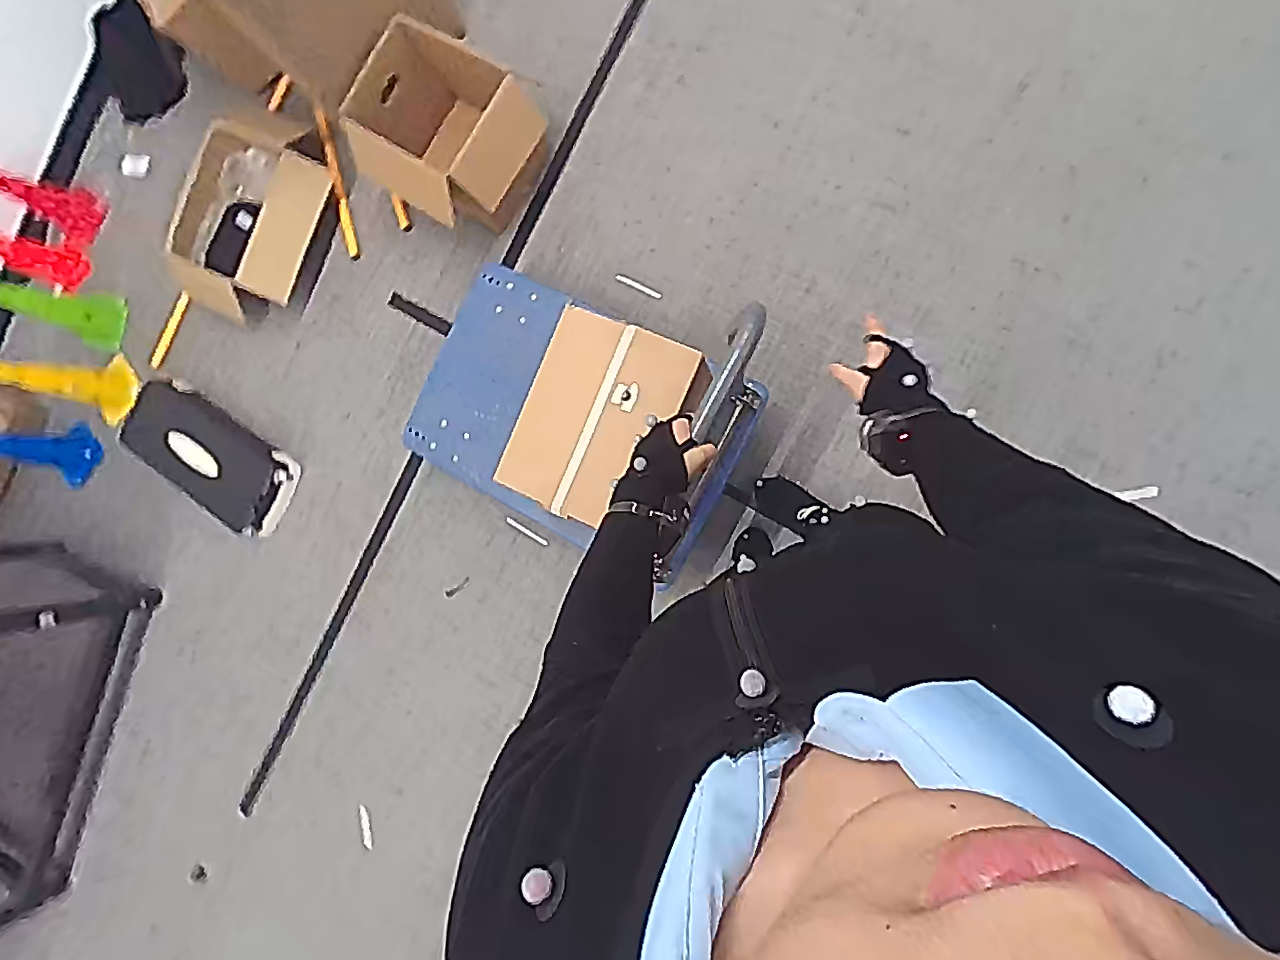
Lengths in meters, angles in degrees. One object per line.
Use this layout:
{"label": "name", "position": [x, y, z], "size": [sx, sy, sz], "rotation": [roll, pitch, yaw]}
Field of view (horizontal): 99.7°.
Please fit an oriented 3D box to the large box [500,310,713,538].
{"label": "large box", "position": [-0.057, -0.108, 1.248], "size": [0.320, 0.320, 0.408], "rotation": [23, 91, 12]}
